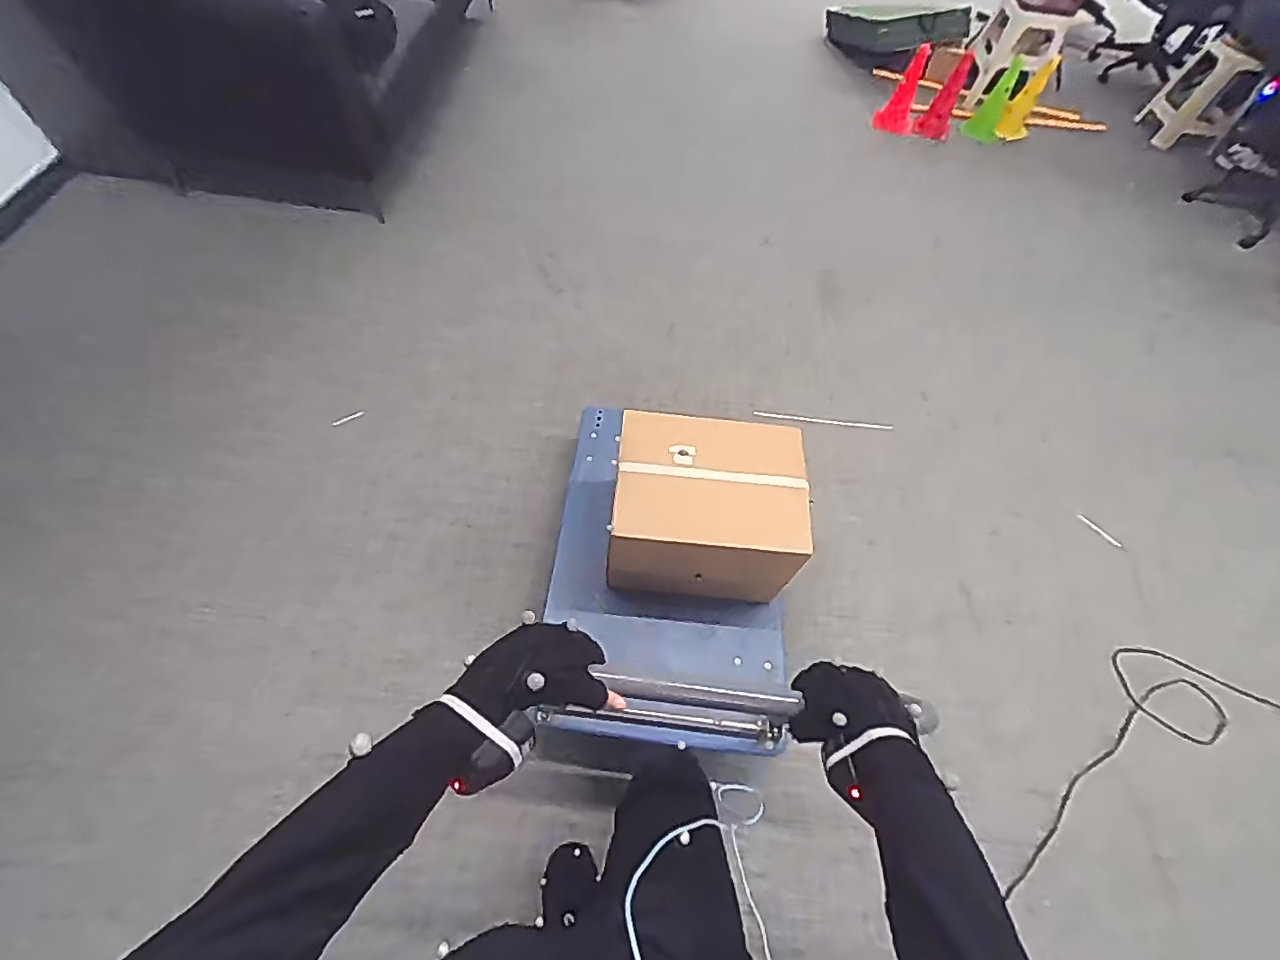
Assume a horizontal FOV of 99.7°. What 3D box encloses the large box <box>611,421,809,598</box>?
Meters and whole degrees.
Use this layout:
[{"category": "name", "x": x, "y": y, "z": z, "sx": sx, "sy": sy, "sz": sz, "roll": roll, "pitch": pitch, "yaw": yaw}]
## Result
[{"category": "large box", "x": 0.143, "y": 0.081, "z": 1.283, "sx": 0.408, "sy": 0.320, "sz": 0.320, "roll": 4, "pitch": 59, "yaw": -1}]
